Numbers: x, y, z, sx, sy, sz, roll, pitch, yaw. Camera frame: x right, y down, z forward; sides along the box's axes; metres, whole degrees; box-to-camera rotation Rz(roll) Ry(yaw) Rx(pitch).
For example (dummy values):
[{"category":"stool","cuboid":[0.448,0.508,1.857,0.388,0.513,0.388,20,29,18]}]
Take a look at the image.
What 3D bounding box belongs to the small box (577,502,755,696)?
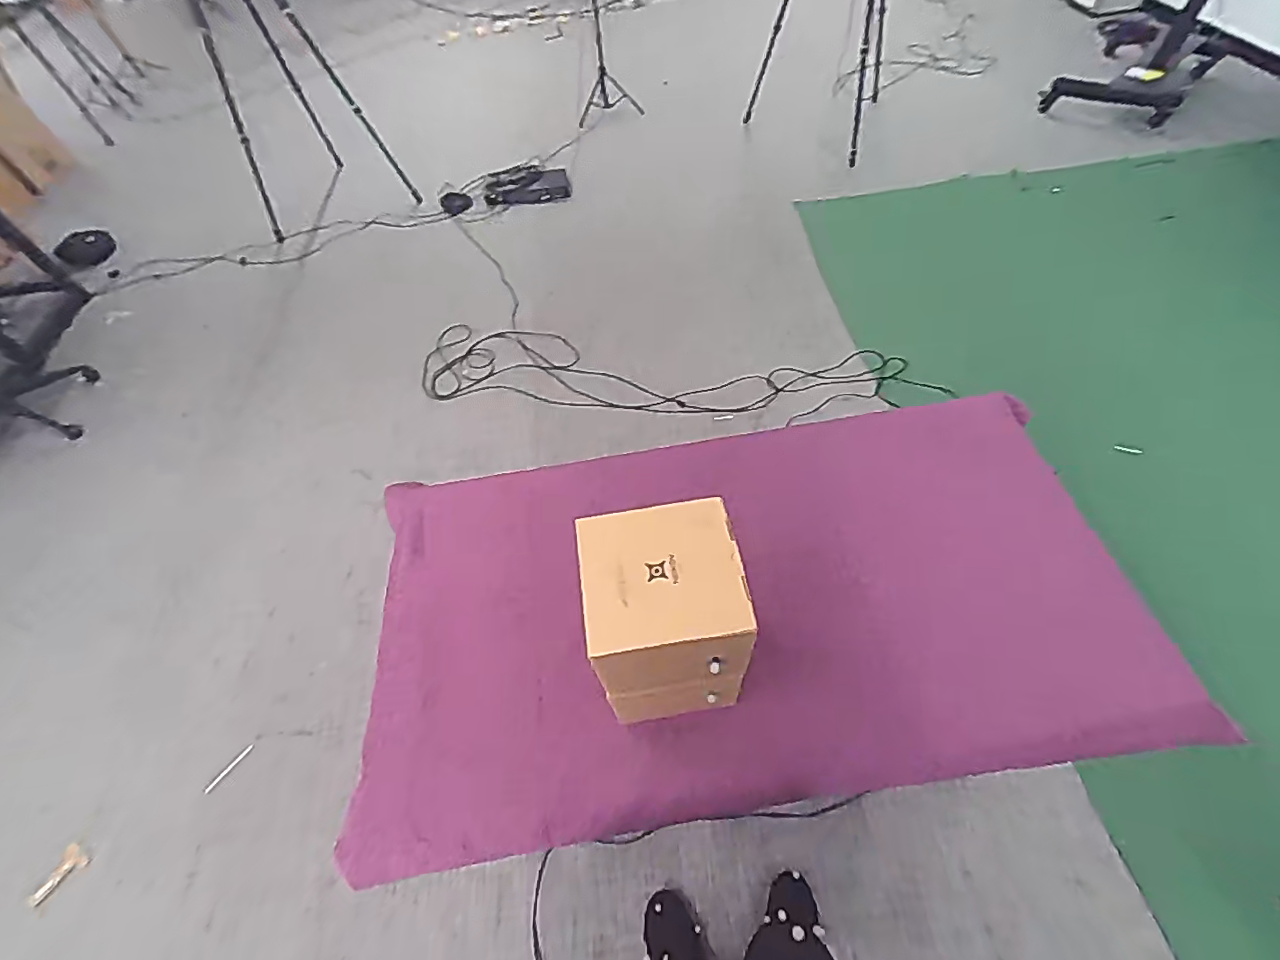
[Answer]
[{"category":"small box","cuboid":[0.027,0.148,0.653,0.179,0.176,0.168,-9,54,-1]}]
